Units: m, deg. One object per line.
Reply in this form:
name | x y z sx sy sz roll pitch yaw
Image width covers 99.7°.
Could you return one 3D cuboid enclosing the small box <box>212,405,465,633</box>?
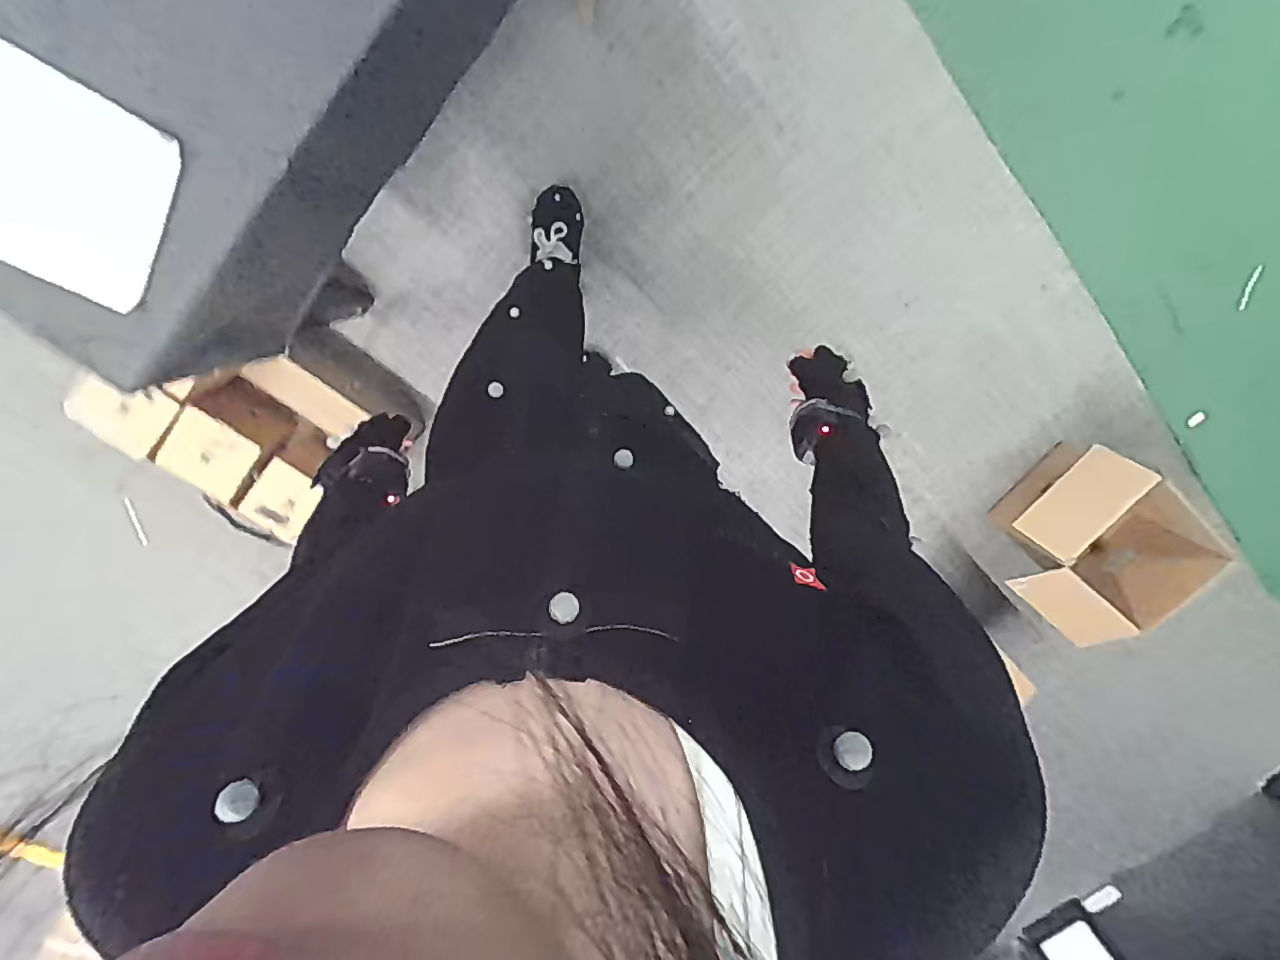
small box | -0.324 0.041 0.606 0.176 0.179 0.168 -45 106 -17
